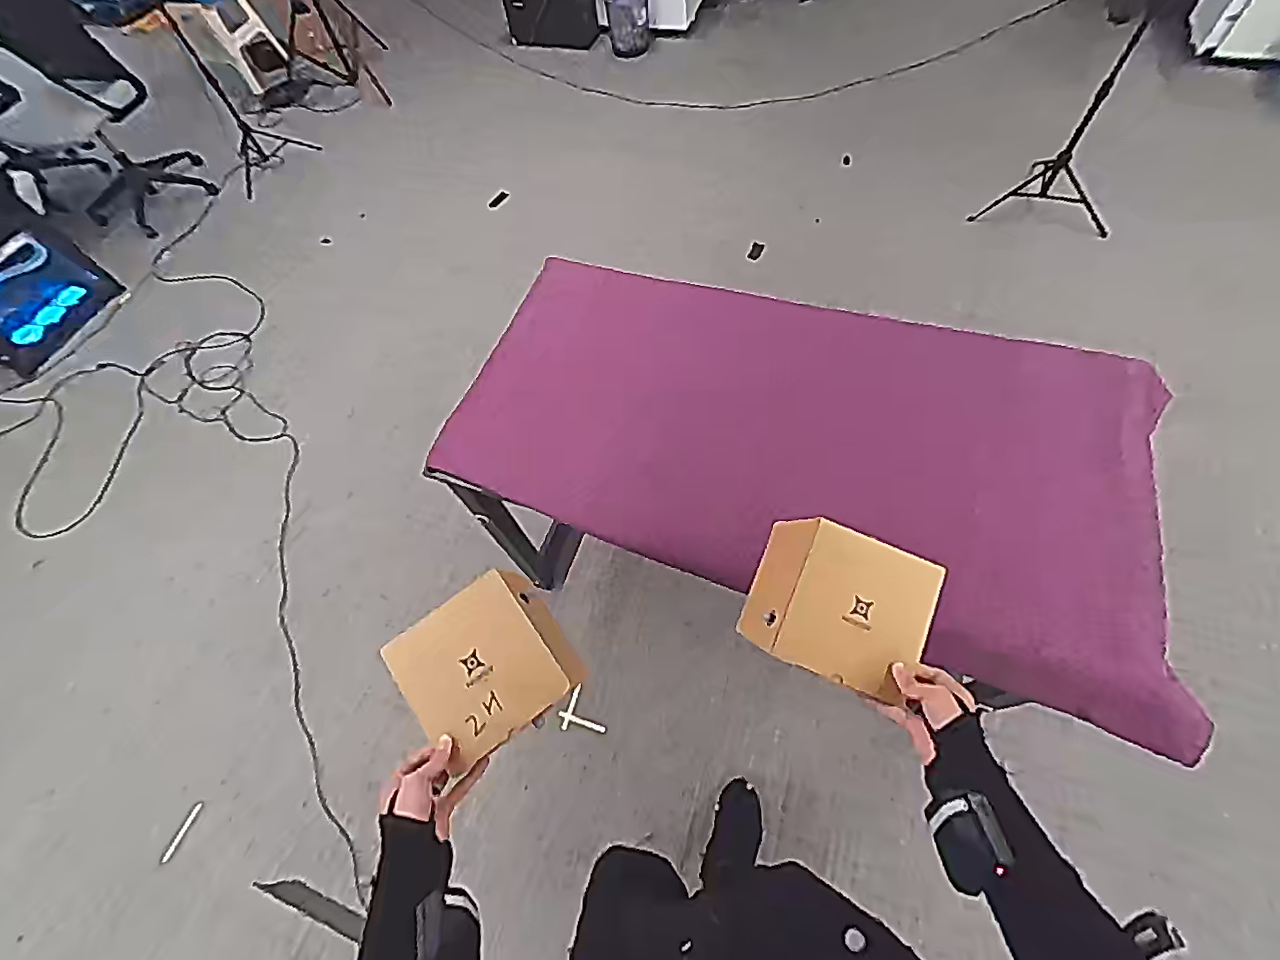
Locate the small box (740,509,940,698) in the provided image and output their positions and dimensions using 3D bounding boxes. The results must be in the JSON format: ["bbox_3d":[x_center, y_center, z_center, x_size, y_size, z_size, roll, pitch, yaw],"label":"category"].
[{"bbox_3d":[0.248,0.152,0.712,0.168,0.176,0.179,22,83,-1],"label":"small box"}]

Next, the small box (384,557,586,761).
[{"bbox_3d":[-0.190,0.224,0.710,0.168,0.176,0.179,-35,78,-6],"label":"small box"}]
